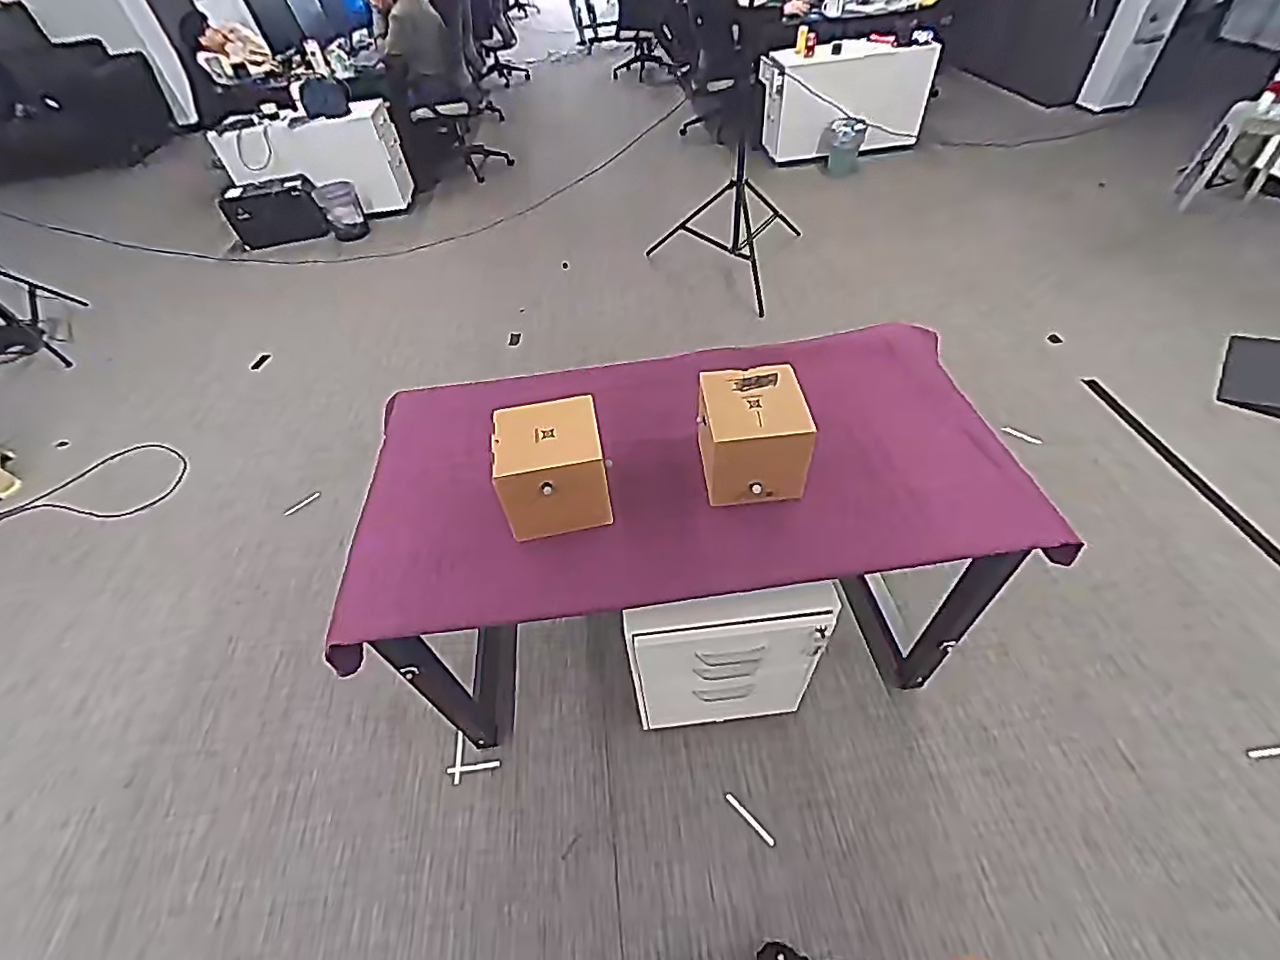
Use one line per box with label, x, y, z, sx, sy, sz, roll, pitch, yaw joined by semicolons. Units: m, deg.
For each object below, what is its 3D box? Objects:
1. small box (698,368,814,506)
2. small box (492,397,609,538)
small box;0.195;-0.075;0.968;0.168;0.176;0.179;-6;49;1
small box;-0.151;-0.019;0.955;0.179;0.176;0.168;-11;48;-3
